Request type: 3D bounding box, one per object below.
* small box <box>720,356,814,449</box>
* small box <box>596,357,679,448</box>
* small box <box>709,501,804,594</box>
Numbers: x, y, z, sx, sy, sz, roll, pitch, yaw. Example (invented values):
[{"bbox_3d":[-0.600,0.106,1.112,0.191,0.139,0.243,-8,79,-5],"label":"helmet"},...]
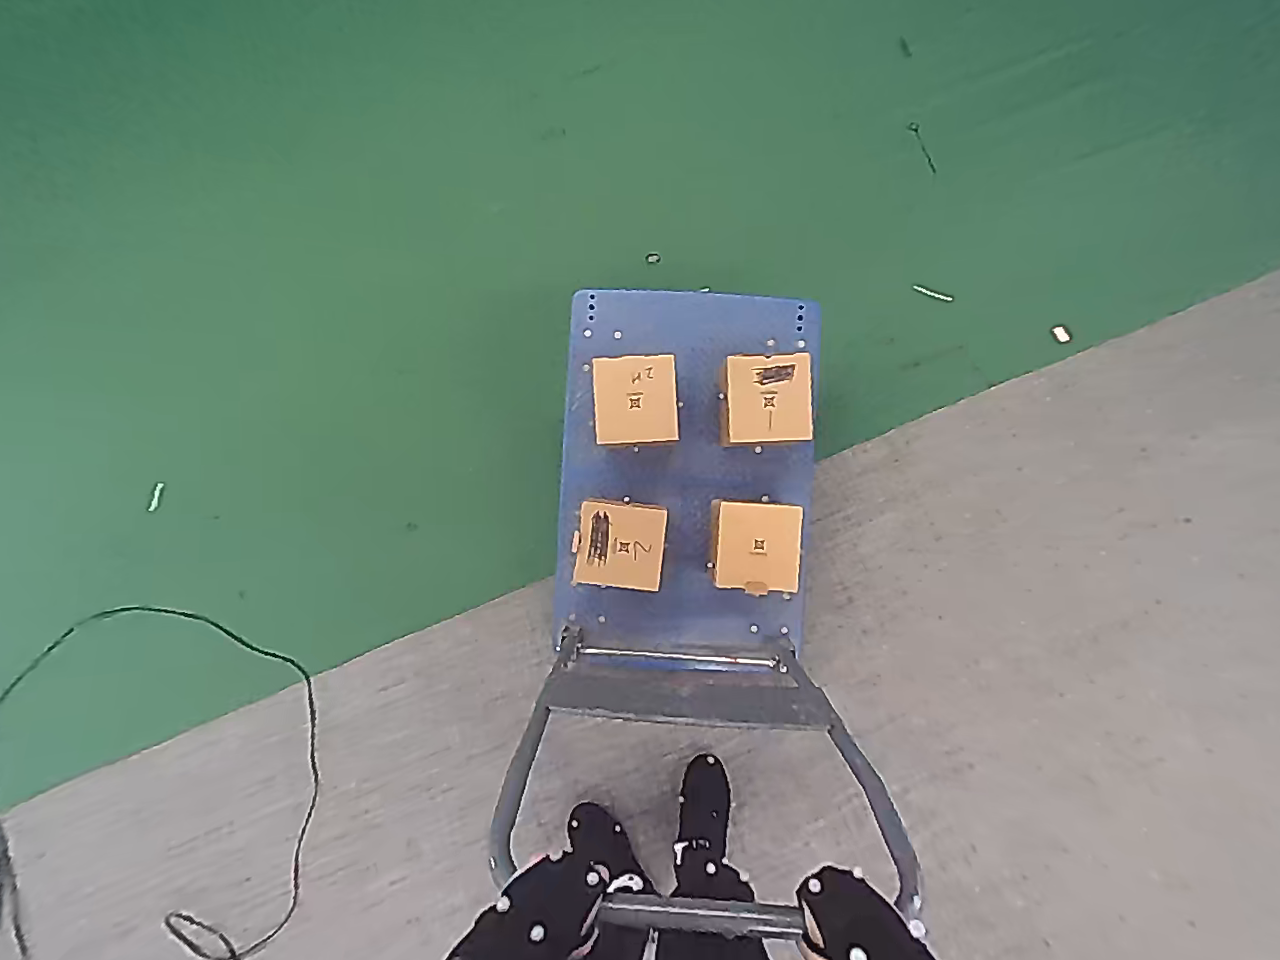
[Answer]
[{"bbox_3d":[0.265,-0.159,1.157,0.168,0.176,0.179,-1,91,2],"label":"small box"},{"bbox_3d":[-0.003,-0.159,1.162,0.168,0.176,0.179,-2,90,0],"label":"small box"},{"bbox_3d":[0.241,0.137,1.159,0.168,0.176,0.179,4,90,1],"label":"small box"}]
